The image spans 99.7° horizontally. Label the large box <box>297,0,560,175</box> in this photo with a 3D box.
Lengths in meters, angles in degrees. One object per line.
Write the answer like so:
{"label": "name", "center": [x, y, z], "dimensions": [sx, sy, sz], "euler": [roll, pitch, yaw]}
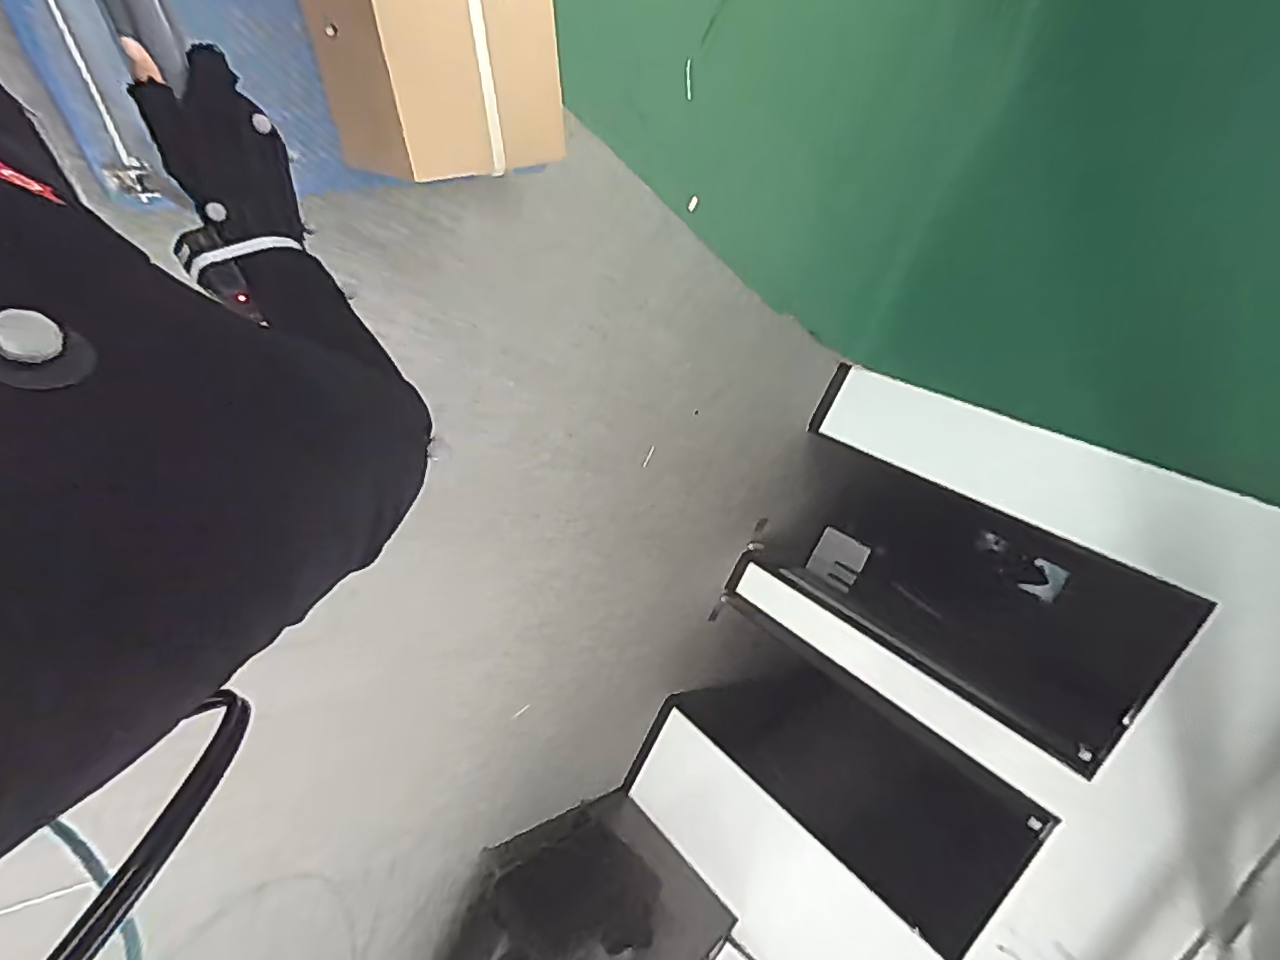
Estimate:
{"label": "large box", "center": [-0.375, -0.788, 0.939], "dimensions": [0.320, 0.320, 0.408], "euler": [-31, 136, -32]}
